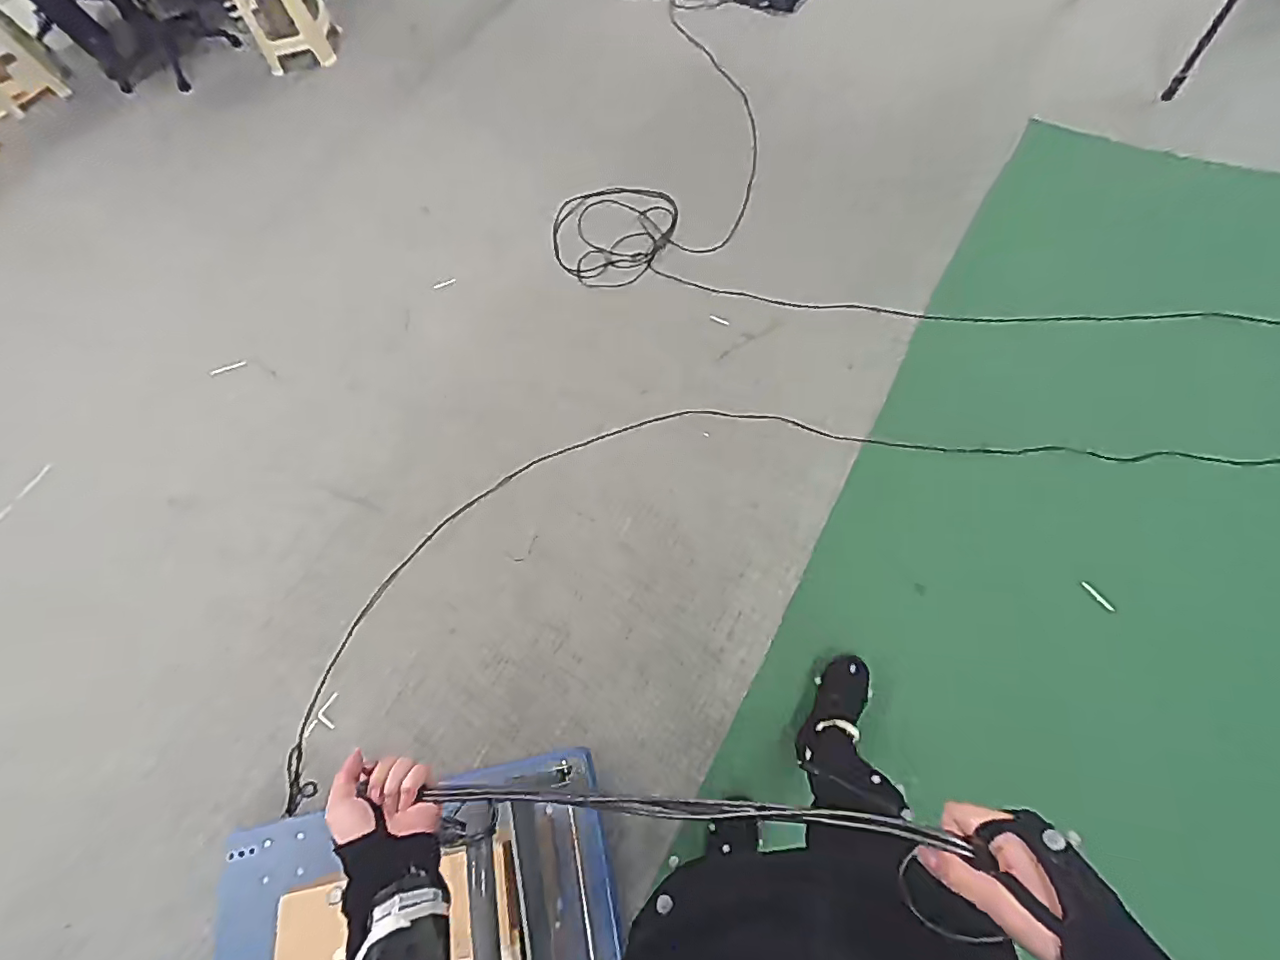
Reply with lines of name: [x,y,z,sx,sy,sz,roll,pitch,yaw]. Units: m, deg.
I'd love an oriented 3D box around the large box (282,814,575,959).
large box: [-0.365,0.861,0.999,0.408,0.320,0.320,-15,64,2]
